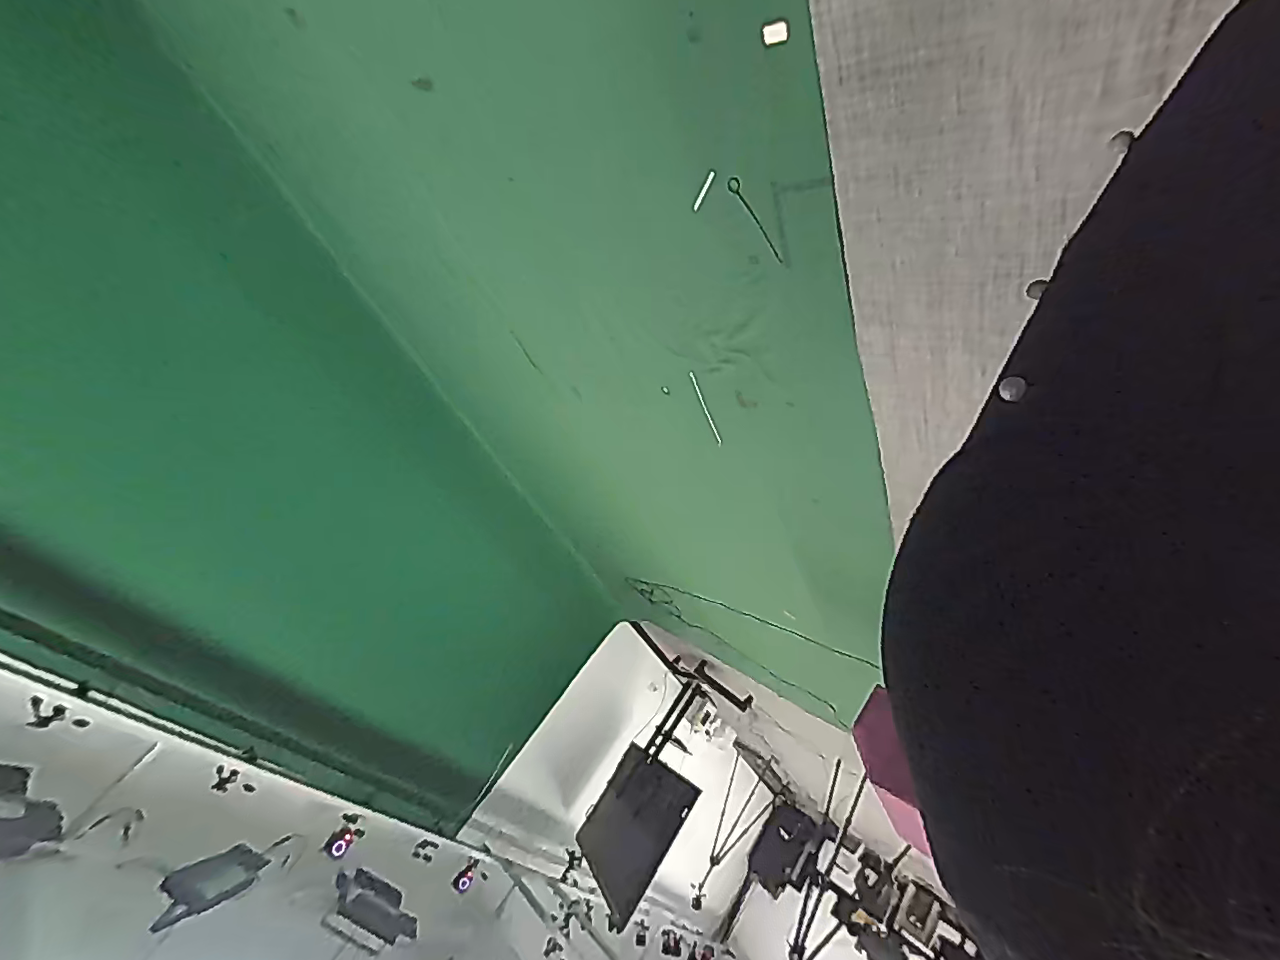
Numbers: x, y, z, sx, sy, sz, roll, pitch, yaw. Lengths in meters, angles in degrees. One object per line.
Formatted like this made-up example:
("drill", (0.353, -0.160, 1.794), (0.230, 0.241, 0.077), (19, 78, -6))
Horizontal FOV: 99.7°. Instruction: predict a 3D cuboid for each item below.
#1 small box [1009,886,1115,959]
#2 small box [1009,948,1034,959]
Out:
("small box", (1.085, 1.191, 1.398), (0.179, 0.176, 0.168), (17, 150, 43))
("small box", (0.996, 1.316, 1.342), (0.168, 0.176, 0.179), (17, 148, 42))
